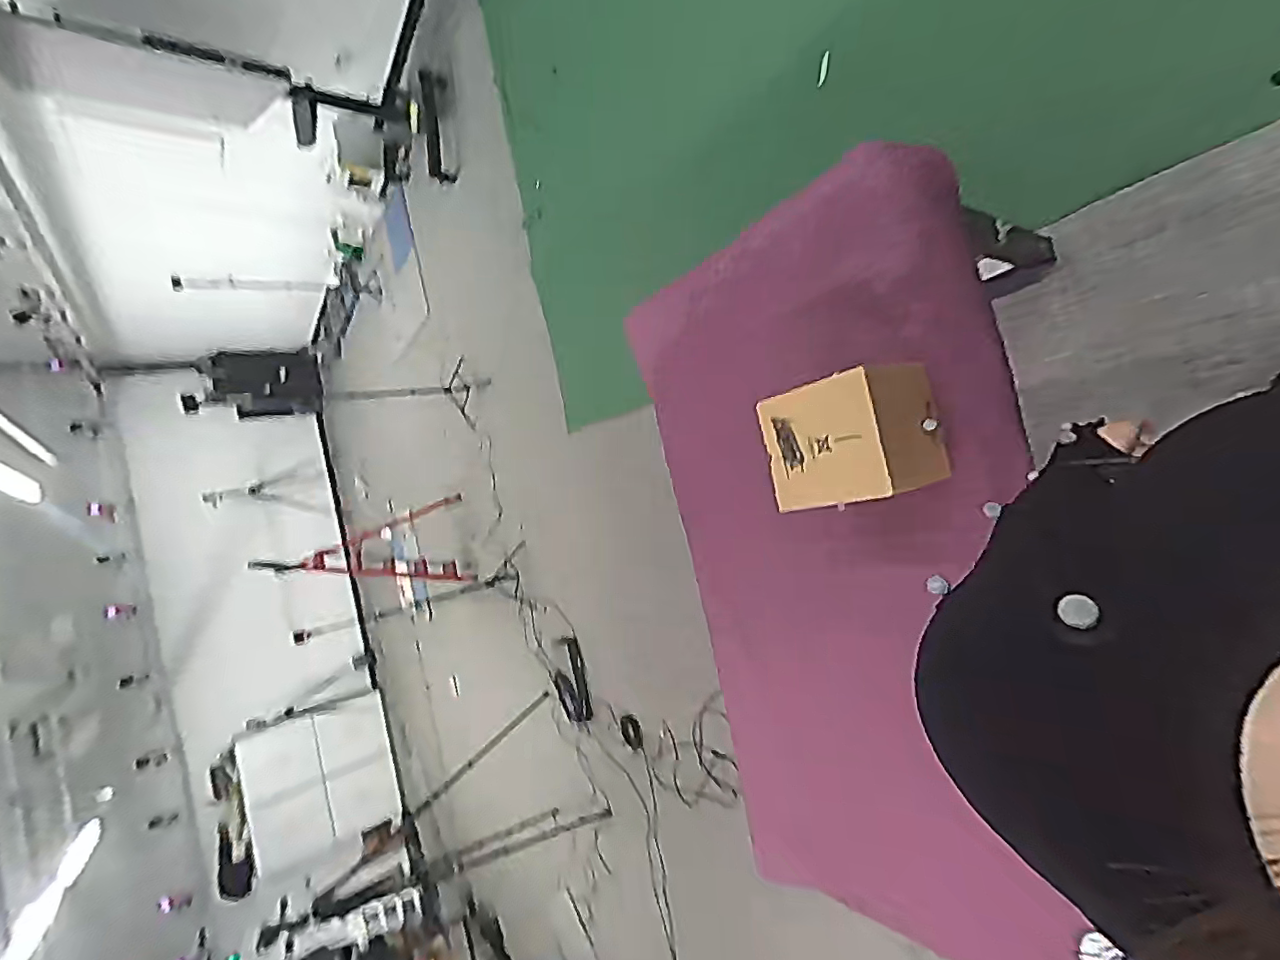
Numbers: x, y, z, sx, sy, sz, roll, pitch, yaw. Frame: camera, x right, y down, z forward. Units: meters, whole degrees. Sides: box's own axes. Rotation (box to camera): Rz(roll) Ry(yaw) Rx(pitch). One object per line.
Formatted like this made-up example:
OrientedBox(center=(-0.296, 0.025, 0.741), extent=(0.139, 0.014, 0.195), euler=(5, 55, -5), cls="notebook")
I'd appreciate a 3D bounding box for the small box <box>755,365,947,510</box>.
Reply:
OrientedBox(center=(0.298, -0.058, 0.771), extent=(0.179, 0.176, 0.168), euler=(-16, 86, 52), cls="small box")
